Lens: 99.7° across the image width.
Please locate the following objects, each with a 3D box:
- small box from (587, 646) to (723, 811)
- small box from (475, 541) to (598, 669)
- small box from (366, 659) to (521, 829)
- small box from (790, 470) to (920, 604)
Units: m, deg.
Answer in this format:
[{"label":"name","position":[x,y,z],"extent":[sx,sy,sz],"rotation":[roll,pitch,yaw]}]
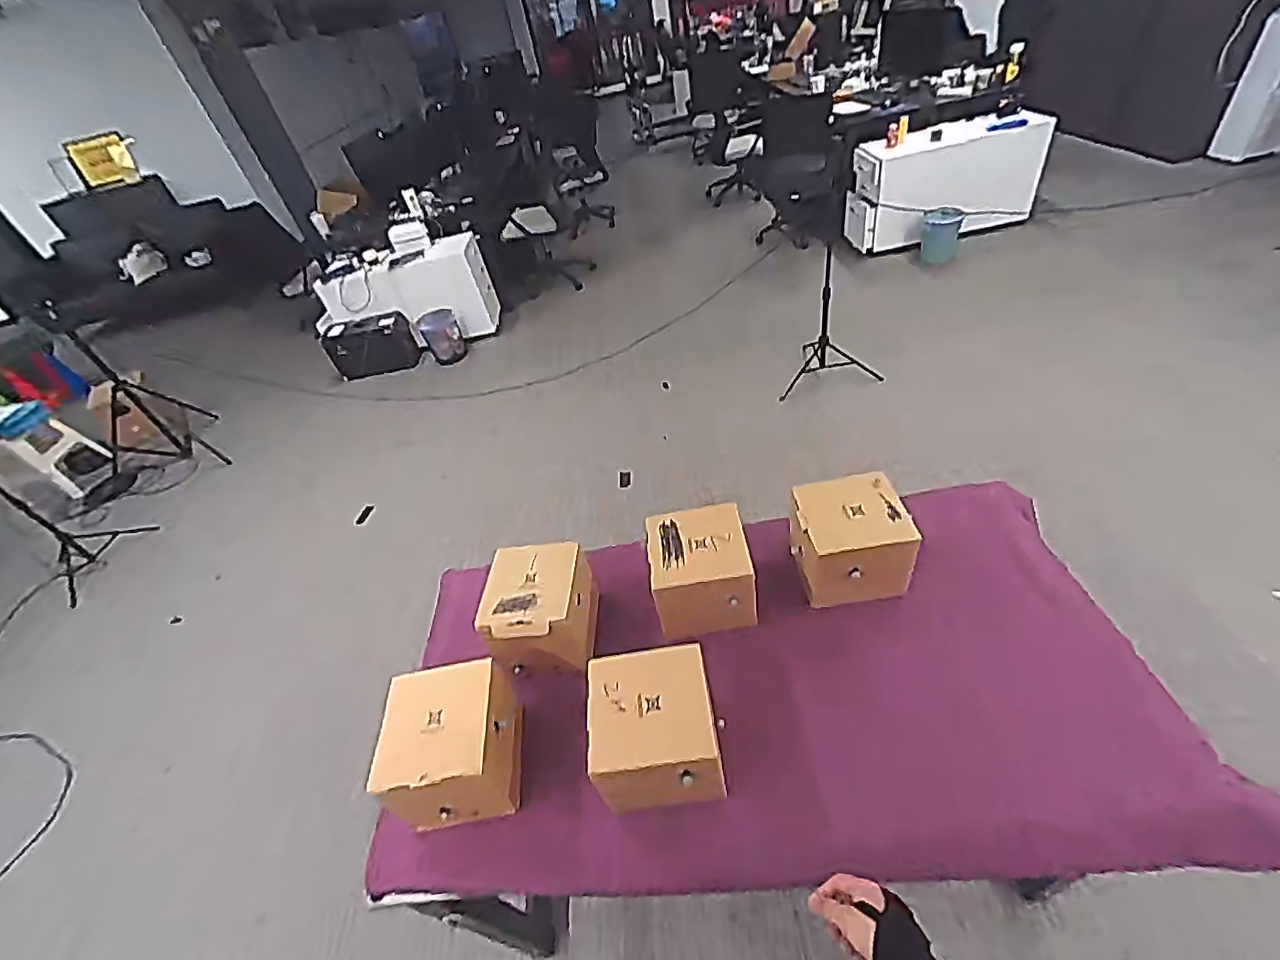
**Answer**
[{"label":"small box","position":[0.026,0.373,0.808],"extent":[0.179,0.176,0.168],"rotation":[-10,42,5]},{"label":"small box","position":[-0.181,0.240,1.010],"extent":[0.168,0.176,0.179],"rotation":[-6,43,8]},{"label":"small box","position":[-0.292,0.414,0.849],"extent":[0.168,0.176,0.179],"rotation":[-11,42,0]},{"label":"small box","position":[0.383,0.110,0.994],"extent":[0.179,0.176,0.168],"rotation":[-10,44,5]}]
